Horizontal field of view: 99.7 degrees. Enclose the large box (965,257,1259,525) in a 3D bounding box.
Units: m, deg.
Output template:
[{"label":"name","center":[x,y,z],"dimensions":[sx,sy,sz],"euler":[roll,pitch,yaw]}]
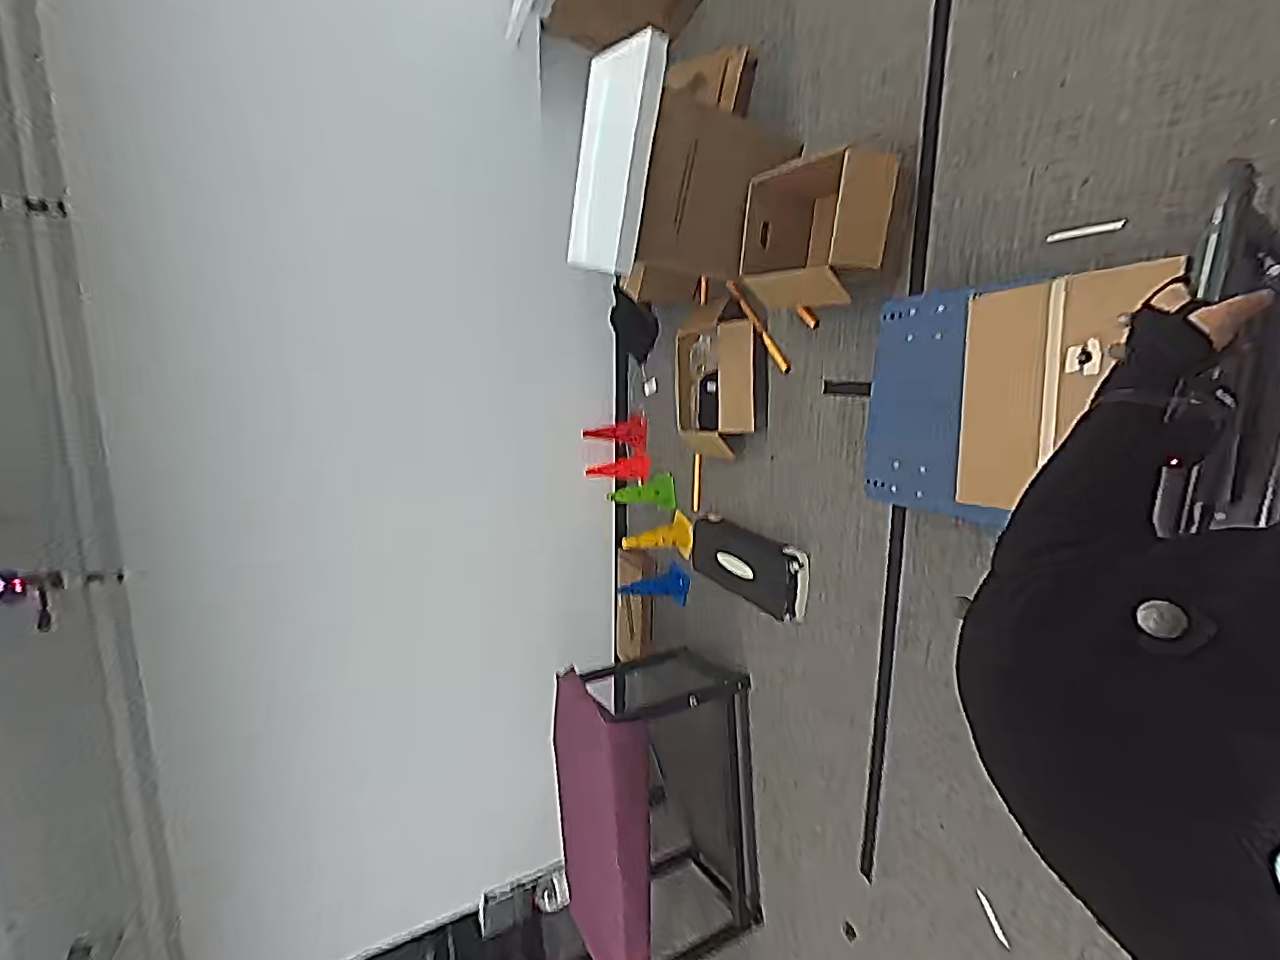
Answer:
[{"label":"large box","center":[0.851,-0.143,0.996],"dimensions":[0.320,0.320,0.408],"euler":[11,102,61]}]
